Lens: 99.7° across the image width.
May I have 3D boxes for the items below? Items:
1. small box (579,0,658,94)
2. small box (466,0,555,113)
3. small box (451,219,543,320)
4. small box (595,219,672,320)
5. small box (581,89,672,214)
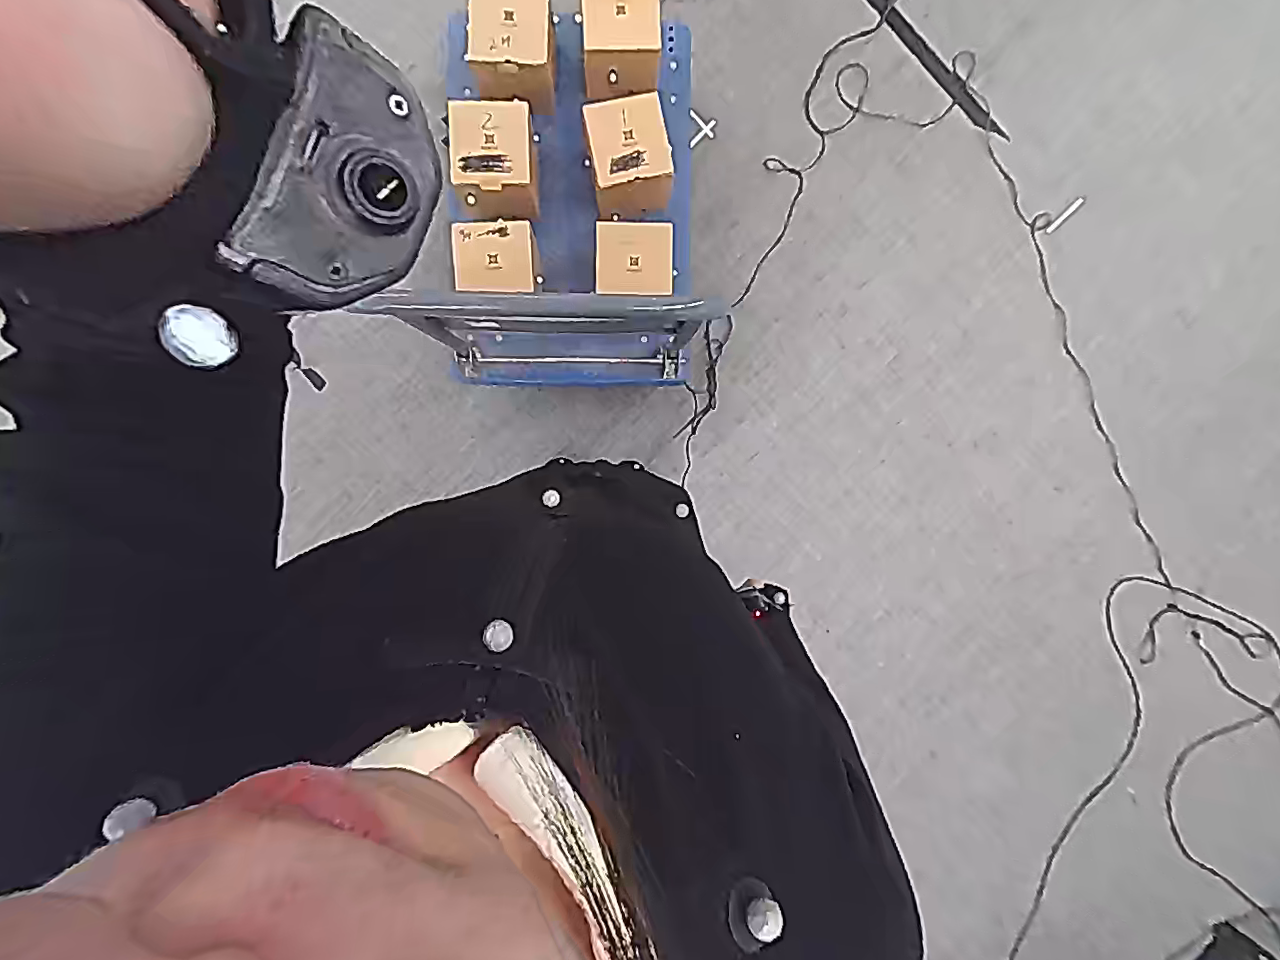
[{"bbox_3d":[-0.049,-1.001,1.213,0.168,0.176,0.179,-3,92,-3],"label":"small box"},{"bbox_3d":[-0.280,-0.962,1.200,0.168,0.176,0.179,1,93,-3],"label":"small box"},{"bbox_3d":[-0.314,-0.464,1.217,0.168,0.176,0.179,-4,93,-4],"label":"small box"},{"bbox_3d":[-0.017,-0.471,1.234,0.168,0.176,0.179,0,92,-3],"label":"small box"},{"bbox_3d":[-0.030,-0.728,1.222,0.168,0.176,0.179,-13,91,-2],"label":"small box"}]
